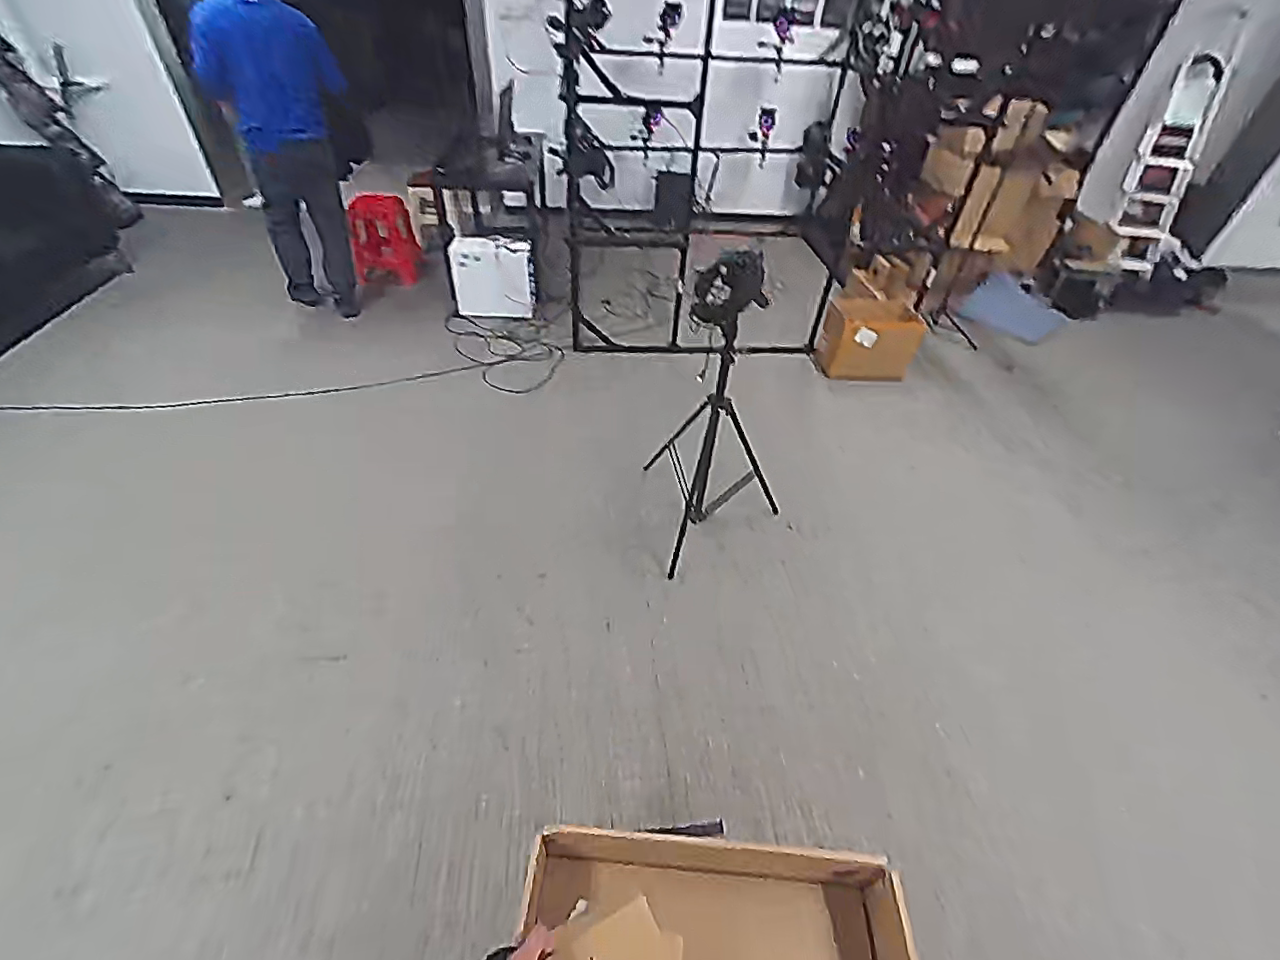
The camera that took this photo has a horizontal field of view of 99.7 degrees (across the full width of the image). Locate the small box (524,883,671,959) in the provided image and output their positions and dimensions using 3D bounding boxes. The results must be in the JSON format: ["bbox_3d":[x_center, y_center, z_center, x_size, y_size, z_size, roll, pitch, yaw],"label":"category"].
[{"bbox_3d":[-0.035,0.628,0.649,0.168,0.176,0.179,-23,63,-19],"label":"small box"}]
